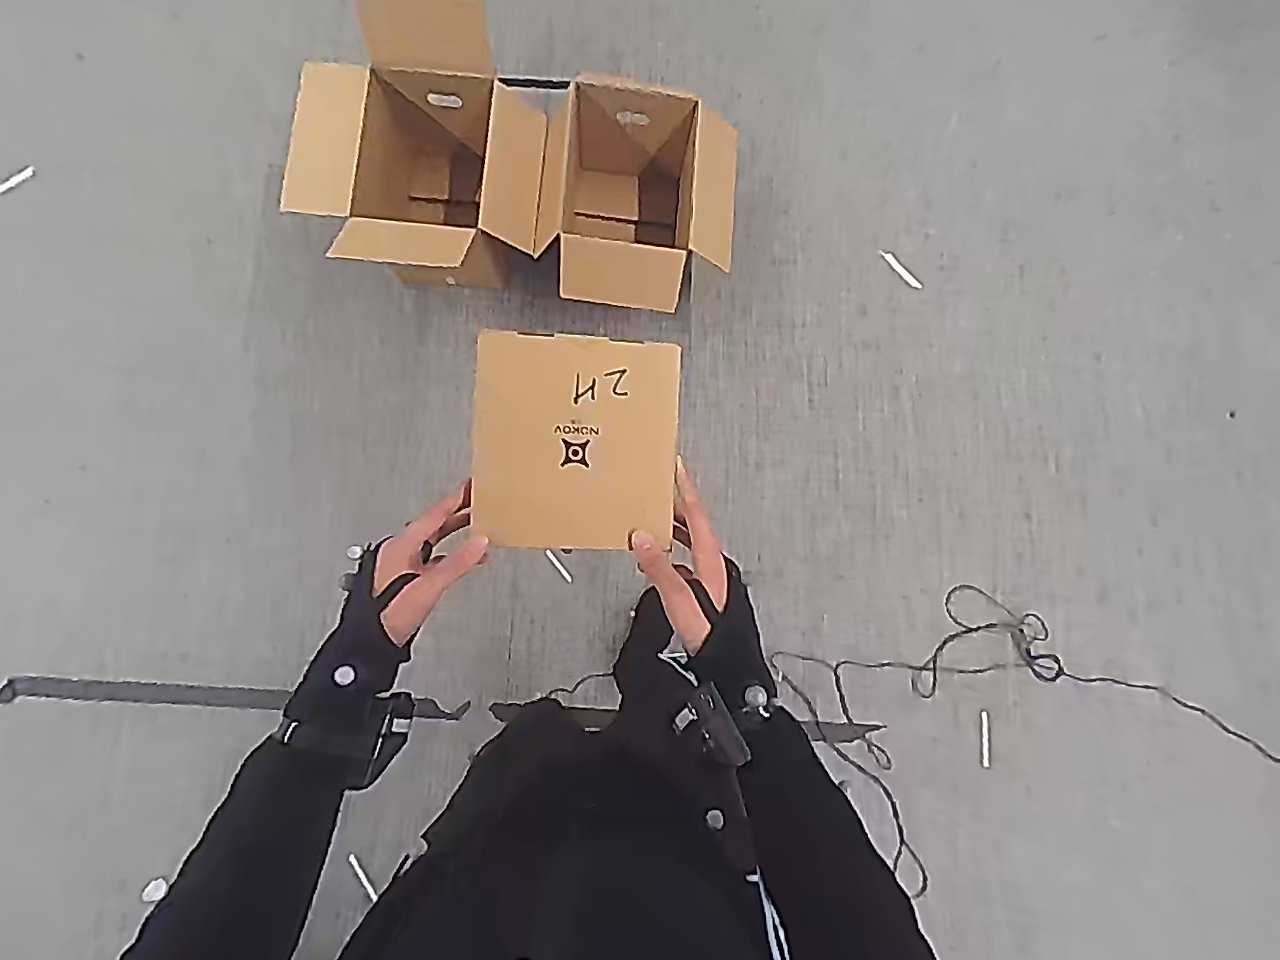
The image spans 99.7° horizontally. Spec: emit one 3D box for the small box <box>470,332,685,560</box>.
[{"bbox_3d":[-0.057,-0.027,0.511,0.168,0.176,0.179,3,90,-7],"label":"small box"}]
